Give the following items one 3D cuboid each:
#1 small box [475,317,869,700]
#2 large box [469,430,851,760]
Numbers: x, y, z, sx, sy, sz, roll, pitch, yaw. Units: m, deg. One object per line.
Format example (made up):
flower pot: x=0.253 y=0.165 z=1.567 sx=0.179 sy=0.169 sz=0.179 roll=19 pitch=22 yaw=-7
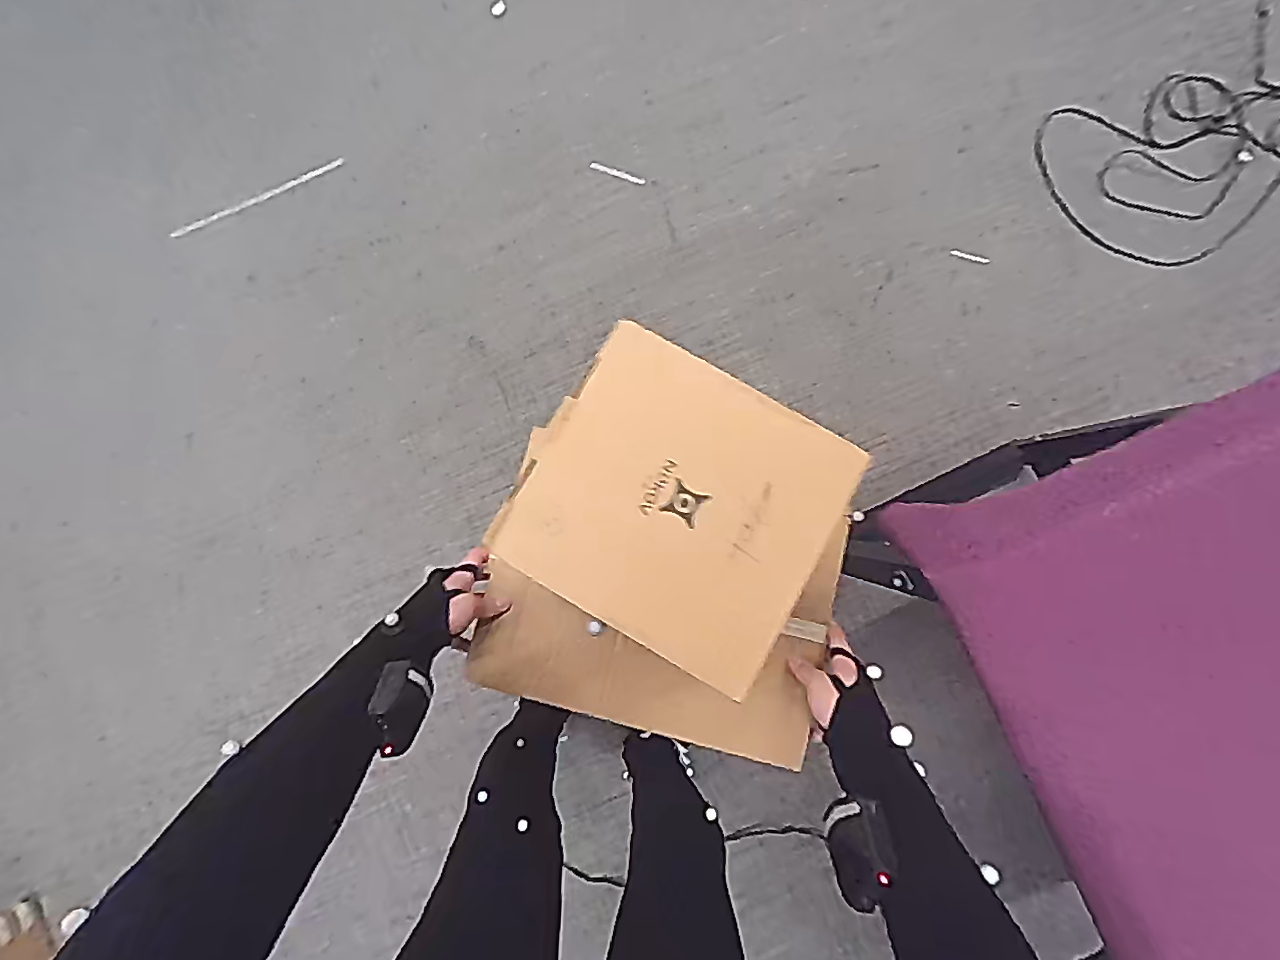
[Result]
small box: x=0.019 y=0.023 z=0.390 sx=0.179 sy=0.176 sz=0.168 roll=31 pitch=83 yaw=4
large box: x=0.026 y=0.148 z=0.782 sx=0.408 sy=0.320 sz=0.320 roll=14 pitch=83 yaw=2
